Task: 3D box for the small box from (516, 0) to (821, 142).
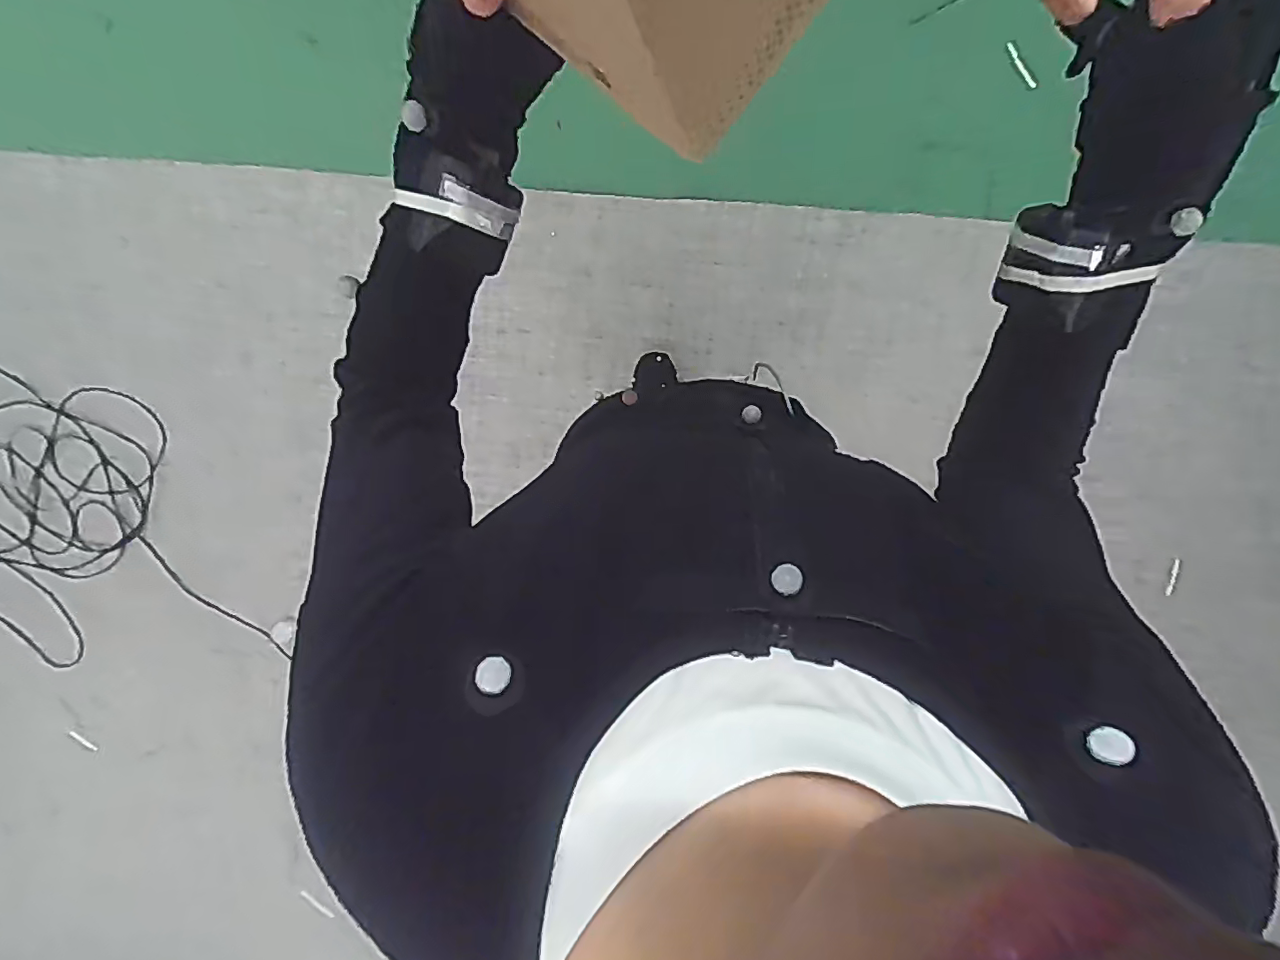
[{"bbox_3d":[0.006,-0.265,0.172,0.168,0.176,0.179,45,106,8],"label":"small box"}]
